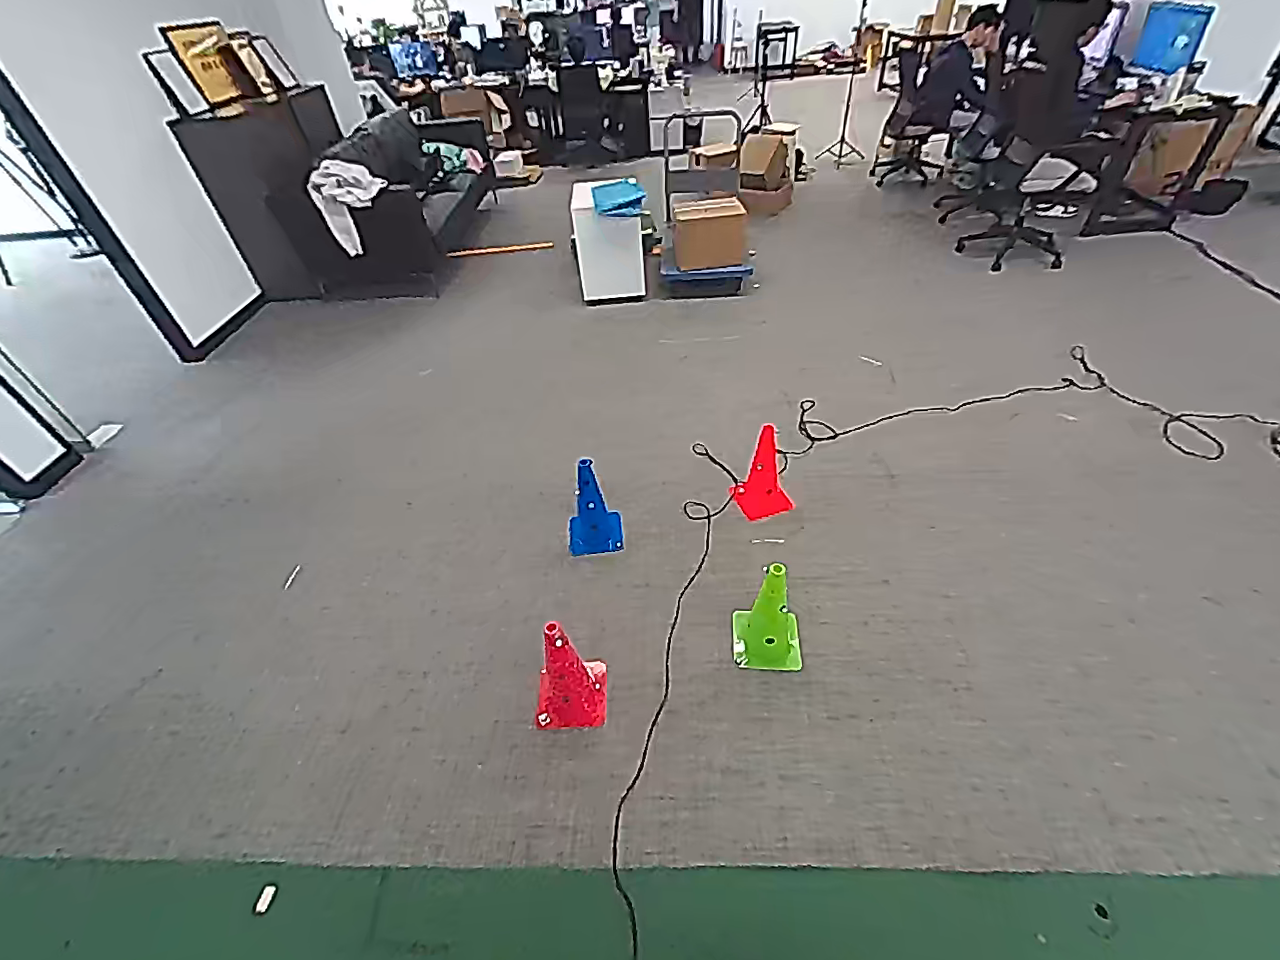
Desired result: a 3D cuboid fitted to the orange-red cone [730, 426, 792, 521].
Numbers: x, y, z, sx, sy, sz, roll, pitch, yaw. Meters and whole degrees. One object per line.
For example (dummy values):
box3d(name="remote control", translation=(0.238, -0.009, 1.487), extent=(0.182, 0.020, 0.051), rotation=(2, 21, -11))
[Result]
box3d(name="orange-red cone", translation=(0.462, -0.049, 2.014), extent=(0.198, 0.360, 0.199), rotation=(-15, 45, -9))

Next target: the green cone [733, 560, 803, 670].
box3d(name="green cone", translation=(0.383, 0.368, 1.560), extent=(0.200, 0.368, 0.202), rotation=(0, 41, 5))
